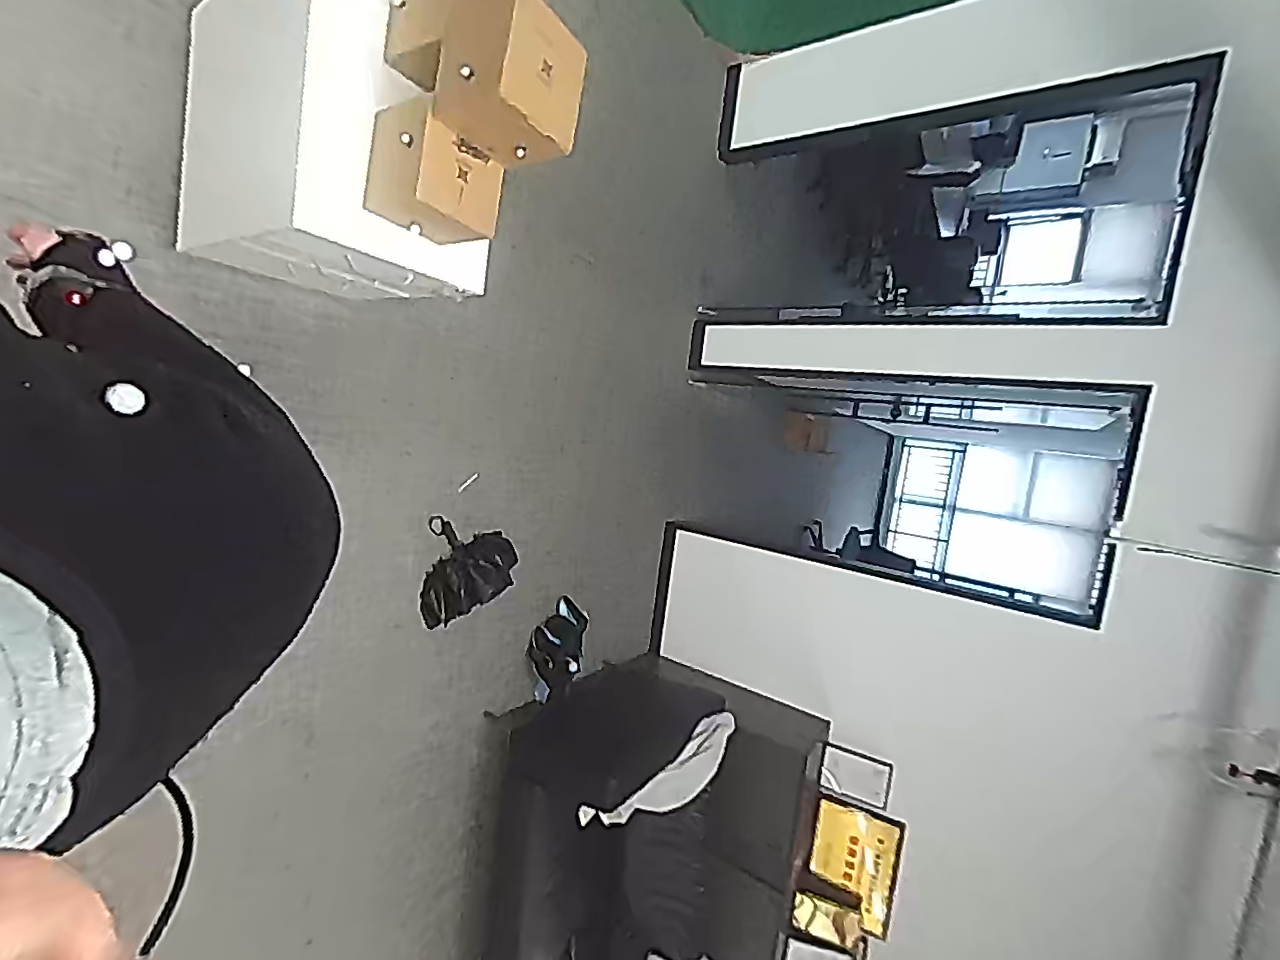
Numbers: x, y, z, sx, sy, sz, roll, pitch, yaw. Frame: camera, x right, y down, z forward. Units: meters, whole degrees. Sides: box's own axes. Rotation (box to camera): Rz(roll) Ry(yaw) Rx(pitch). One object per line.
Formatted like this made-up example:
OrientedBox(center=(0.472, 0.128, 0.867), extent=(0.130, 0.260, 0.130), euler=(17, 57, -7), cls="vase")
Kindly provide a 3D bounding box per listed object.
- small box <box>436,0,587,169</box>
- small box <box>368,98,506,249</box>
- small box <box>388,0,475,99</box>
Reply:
OrientedBox(center=(-0.214, -0.649, 0.895), extent=(0.168, 0.176, 0.179), euler=(4, 95, -57), cls="small box")
OrientedBox(center=(-0.370, -0.543, 0.987), extent=(0.168, 0.176, 0.179), euler=(5, 95, -56), cls="small box")
OrientedBox(center=(-0.329, -0.799, 0.974), extent=(0.168, 0.176, 0.179), euler=(1, 101, -56), cls="small box")
